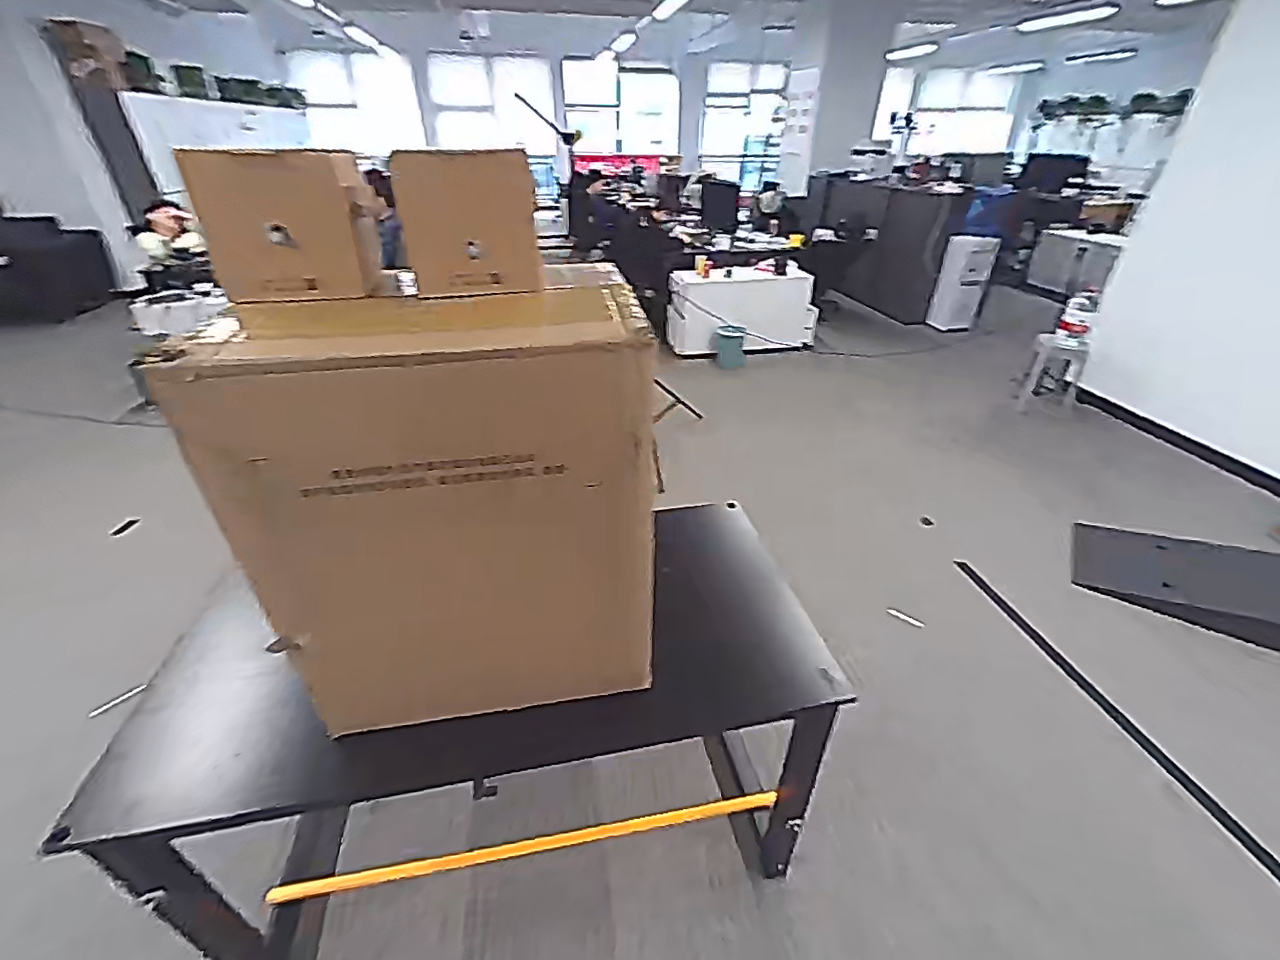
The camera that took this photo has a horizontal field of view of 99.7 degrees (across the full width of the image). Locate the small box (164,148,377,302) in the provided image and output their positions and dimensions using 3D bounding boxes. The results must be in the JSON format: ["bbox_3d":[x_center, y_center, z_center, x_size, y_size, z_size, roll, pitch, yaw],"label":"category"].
[{"bbox_3d":[-0.461,-0.337,0.714,0.168,0.176,0.179,-8,33,-13],"label":"small box"}]

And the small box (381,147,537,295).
[{"bbox_3d":[-0.237,-0.357,0.745,0.168,0.176,0.179,-8,31,-11],"label":"small box"}]
